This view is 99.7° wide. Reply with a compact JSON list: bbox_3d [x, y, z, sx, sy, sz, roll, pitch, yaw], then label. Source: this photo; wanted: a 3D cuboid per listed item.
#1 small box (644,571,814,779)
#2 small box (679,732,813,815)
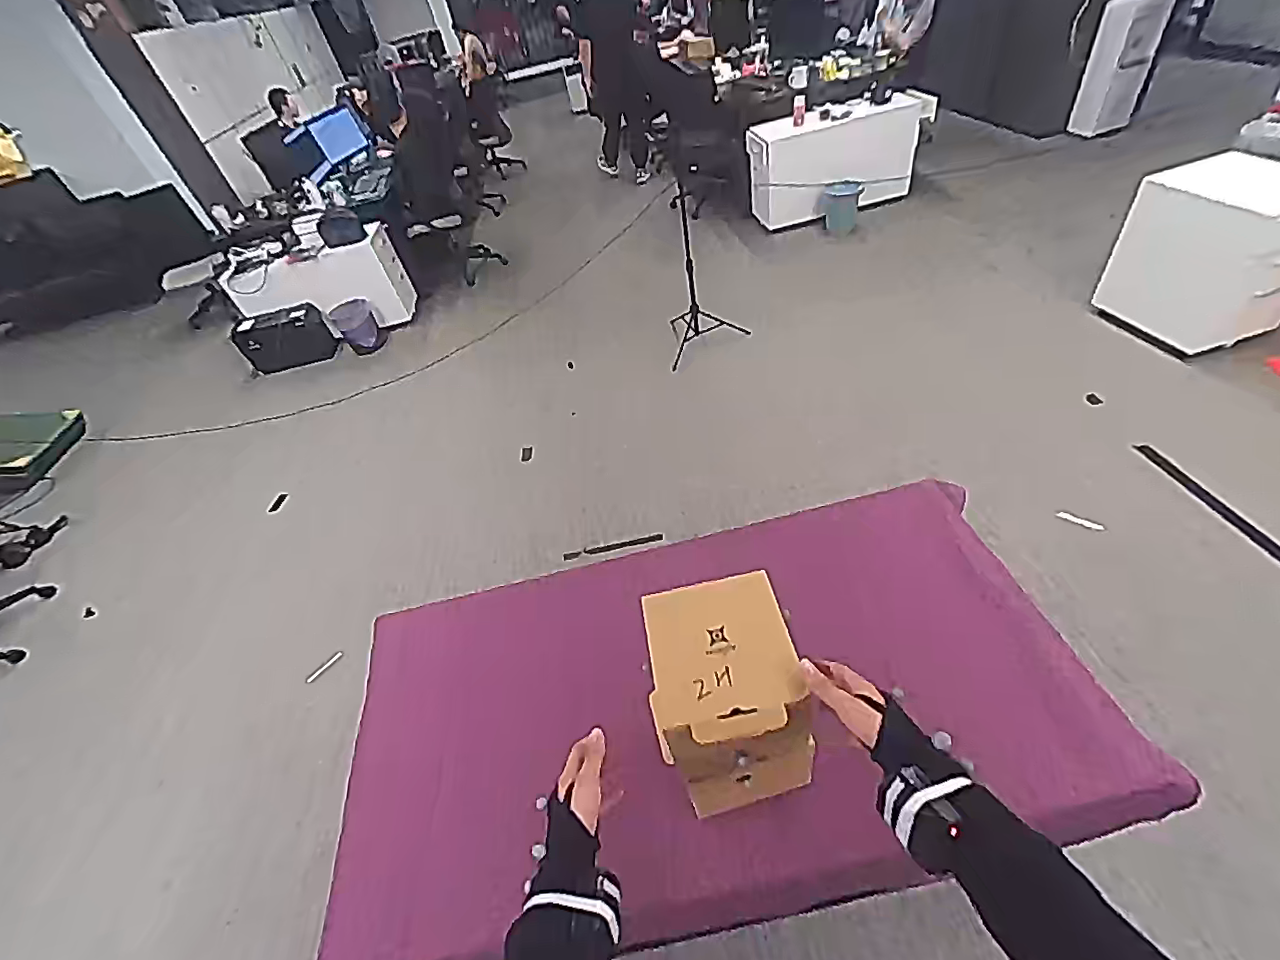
[{"bbox_3d":[0.107,0.247,0.685,0.168,0.176,0.179,-13,44,2],"label":"small box"},{"bbox_3d":[0.139,0.364,0.797,0.179,0.176,0.168,-16,44,-3],"label":"small box"}]
